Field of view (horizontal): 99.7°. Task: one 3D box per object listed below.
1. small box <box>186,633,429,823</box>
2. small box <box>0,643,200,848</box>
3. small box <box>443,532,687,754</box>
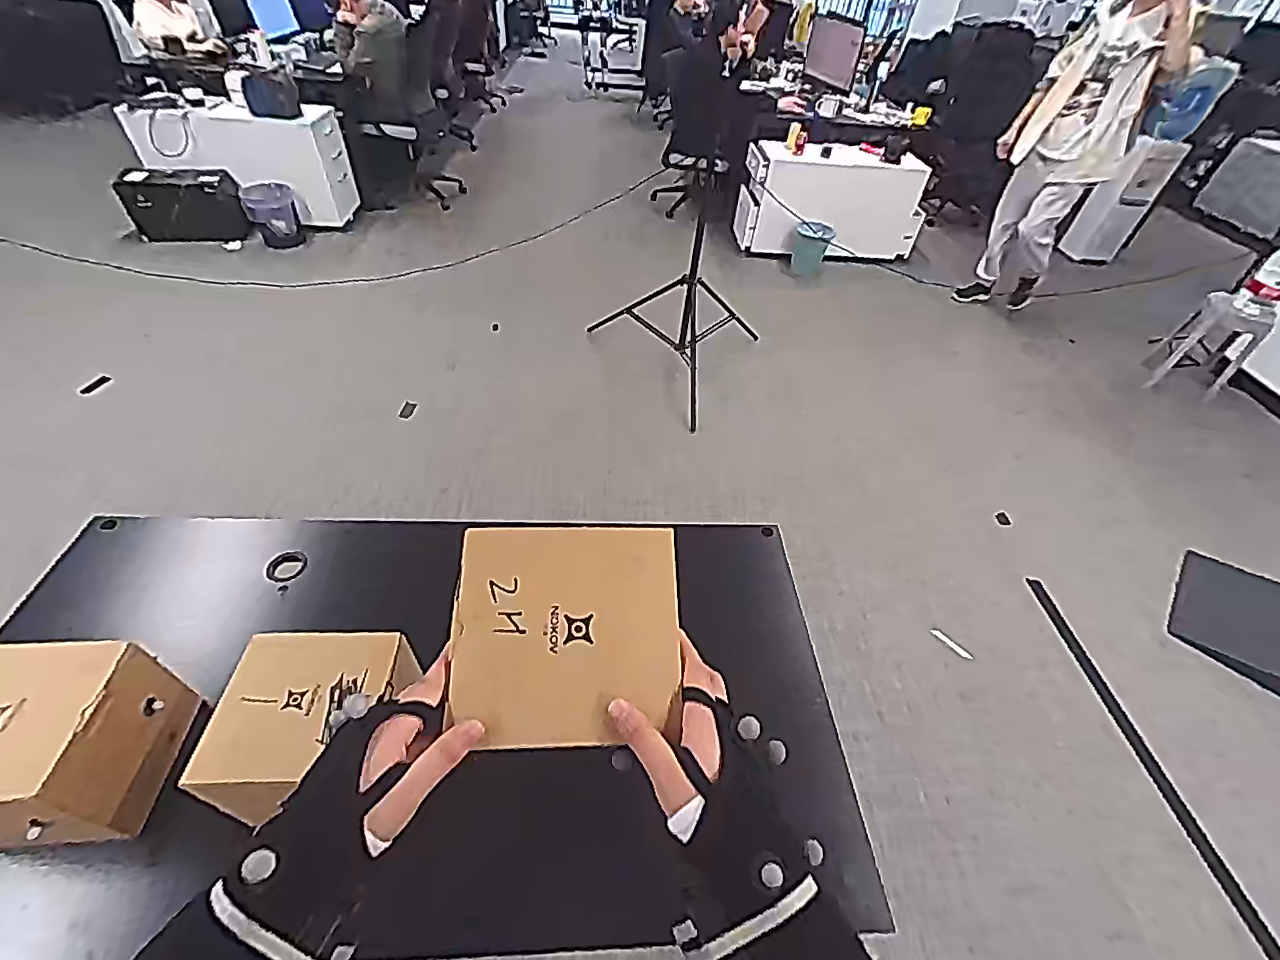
[{"bbox_3d":[-0.373,0.301,0.653,0.179,0.176,0.168,1,45,-4],"label":"small box"},{"bbox_3d":[-0.666,0.305,0.622,0.179,0.176,0.168,-1,45,-6],"label":"small box"},{"bbox_3d":[-0.060,0.152,0.490,0.179,0.176,0.168,0,65,-4],"label":"small box"}]
